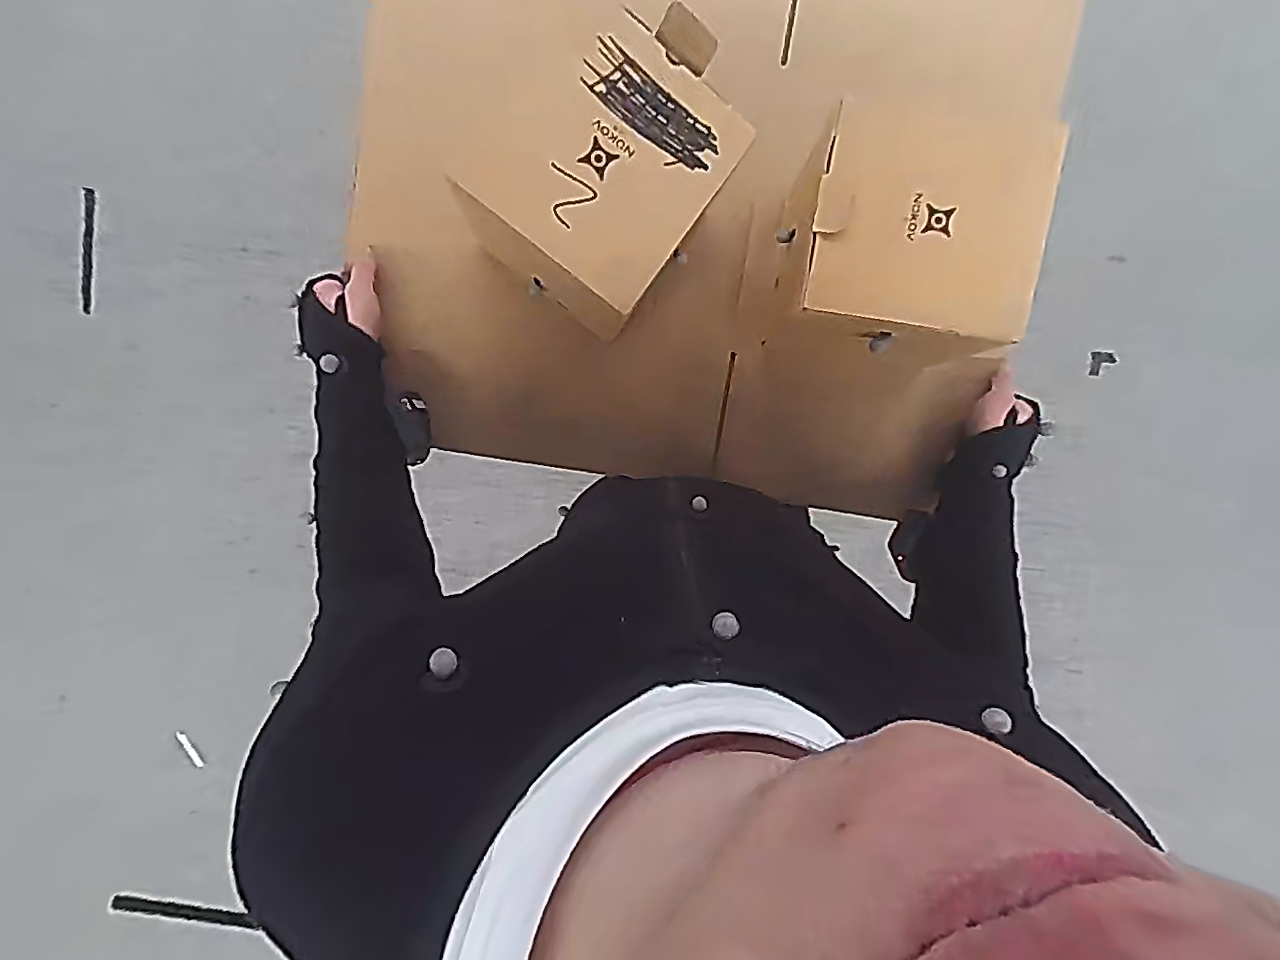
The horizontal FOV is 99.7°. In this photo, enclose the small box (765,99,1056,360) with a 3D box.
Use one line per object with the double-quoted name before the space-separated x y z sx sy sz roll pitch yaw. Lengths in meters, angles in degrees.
"small box" 0.232 -0.215 0.513 0.179 0.176 0.168 9 95 2
